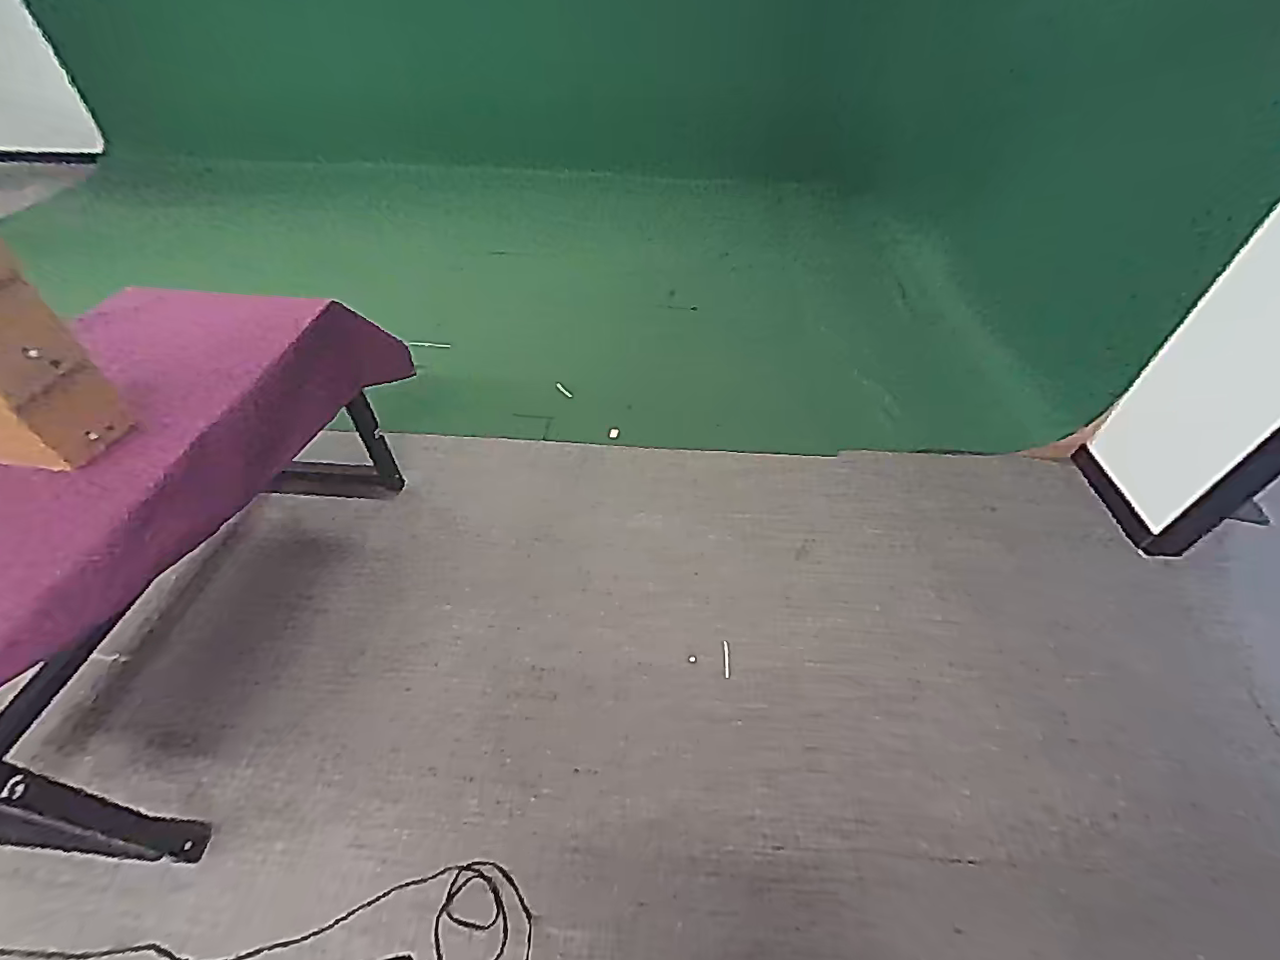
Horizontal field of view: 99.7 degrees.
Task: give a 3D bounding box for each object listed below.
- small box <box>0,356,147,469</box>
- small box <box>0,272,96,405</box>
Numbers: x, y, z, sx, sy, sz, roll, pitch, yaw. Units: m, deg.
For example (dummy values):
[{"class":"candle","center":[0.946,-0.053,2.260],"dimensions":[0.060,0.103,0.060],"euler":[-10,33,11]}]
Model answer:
[{"class":"small box","center":[-1.142,-0.138,1.050],"dimensions":[0.179,0.176,0.168],"euler":[7,47,6]},{"class":"small box","center":[-1.126,-0.246,0.927],"dimensions":[0.179,0.176,0.168],"euler":[6,48,5]}]
